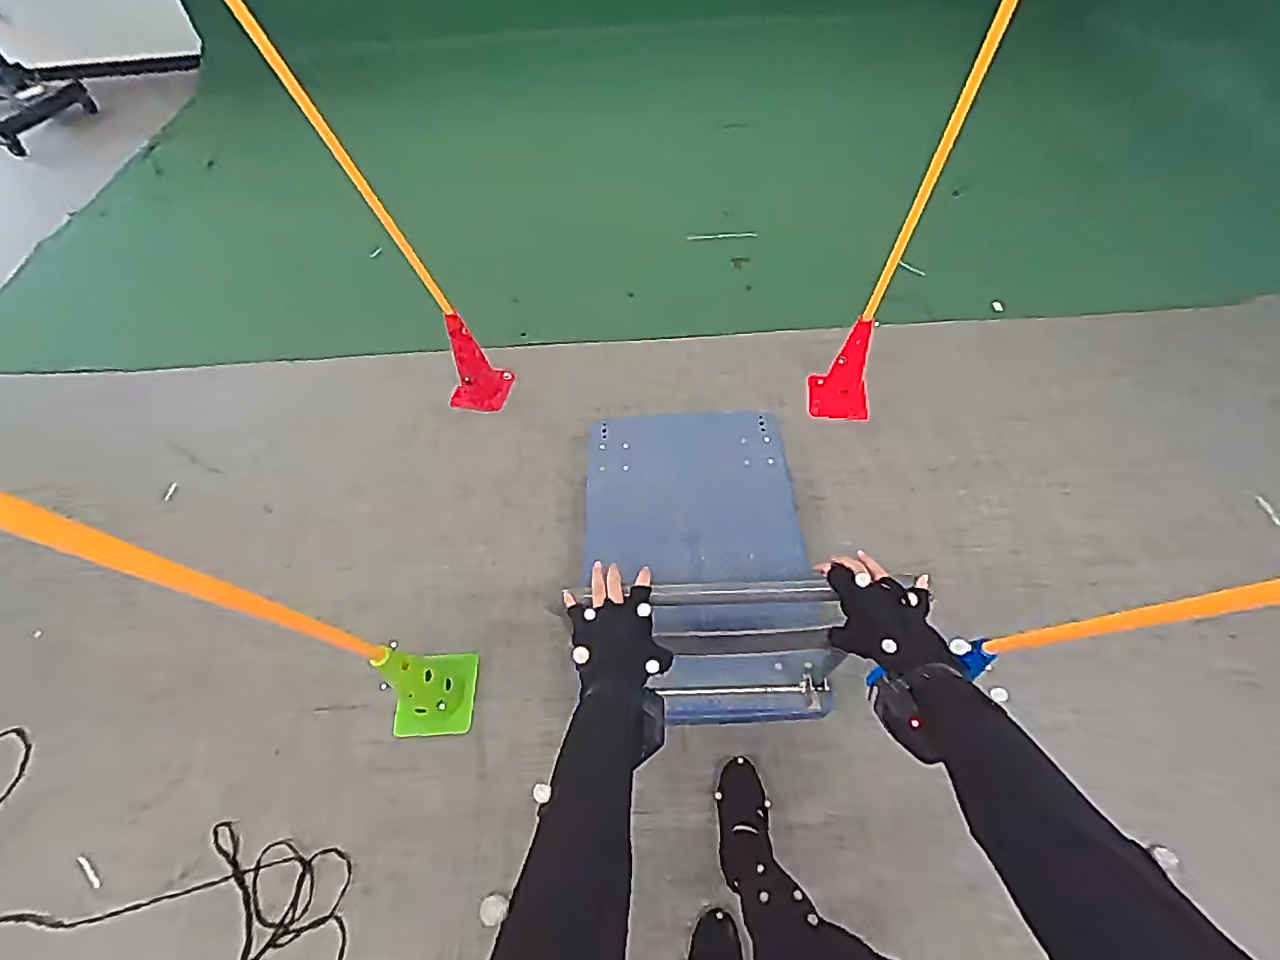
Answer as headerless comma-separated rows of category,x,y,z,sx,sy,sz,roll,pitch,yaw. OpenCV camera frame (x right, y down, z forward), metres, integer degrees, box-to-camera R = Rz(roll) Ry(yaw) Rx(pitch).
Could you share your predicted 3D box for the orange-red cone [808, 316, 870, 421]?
orange-red cone,0.688,-0.383,1.772,0.198,0.360,0.199,6,58,8
